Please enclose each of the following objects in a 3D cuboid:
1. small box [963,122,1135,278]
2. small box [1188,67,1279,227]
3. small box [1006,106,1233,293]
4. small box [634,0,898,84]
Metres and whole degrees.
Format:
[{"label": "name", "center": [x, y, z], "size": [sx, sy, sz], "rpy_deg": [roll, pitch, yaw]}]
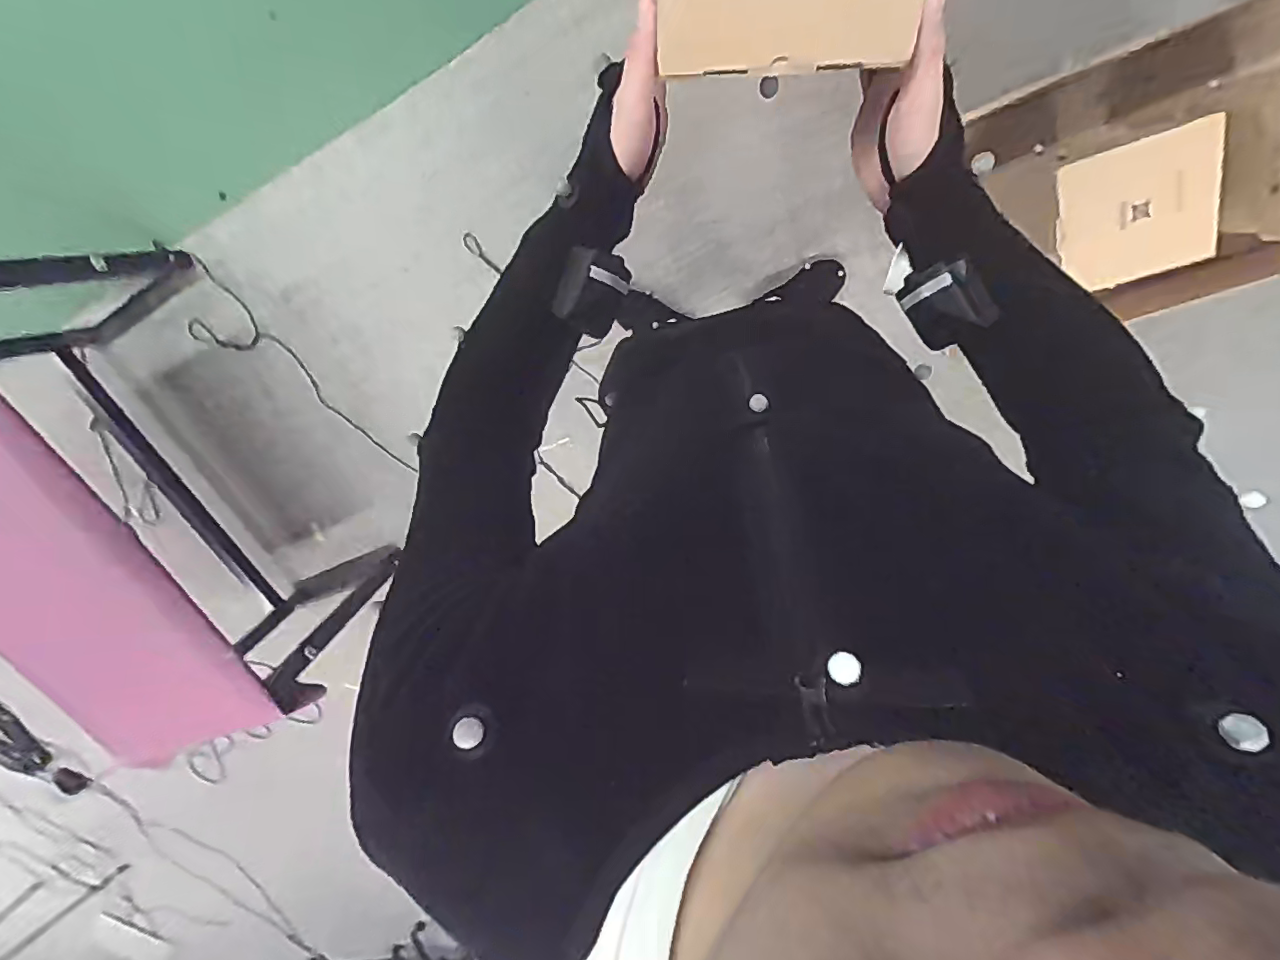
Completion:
[{"label": "small box", "center": [0.650, -0.443, 0.878], "size": [0.179, 0.176, 0.168], "rpy_deg": [-16, 112, 15]}, {"label": "small box", "center": [0.844, -0.435, 0.673], "size": [0.179, 0.176, 0.168], "rpy_deg": [-15, 113, 19]}, {"label": "small box", "center": [0.627, -0.369, 0.735], "size": [0.179, 0.176, 0.168], "rpy_deg": [-14, 113, 14]}, {"label": "small box", "center": [0.084, -0.389, 0.367], "size": [0.168, 0.176, 0.179], "rpy_deg": [1, 129, 8]}]
